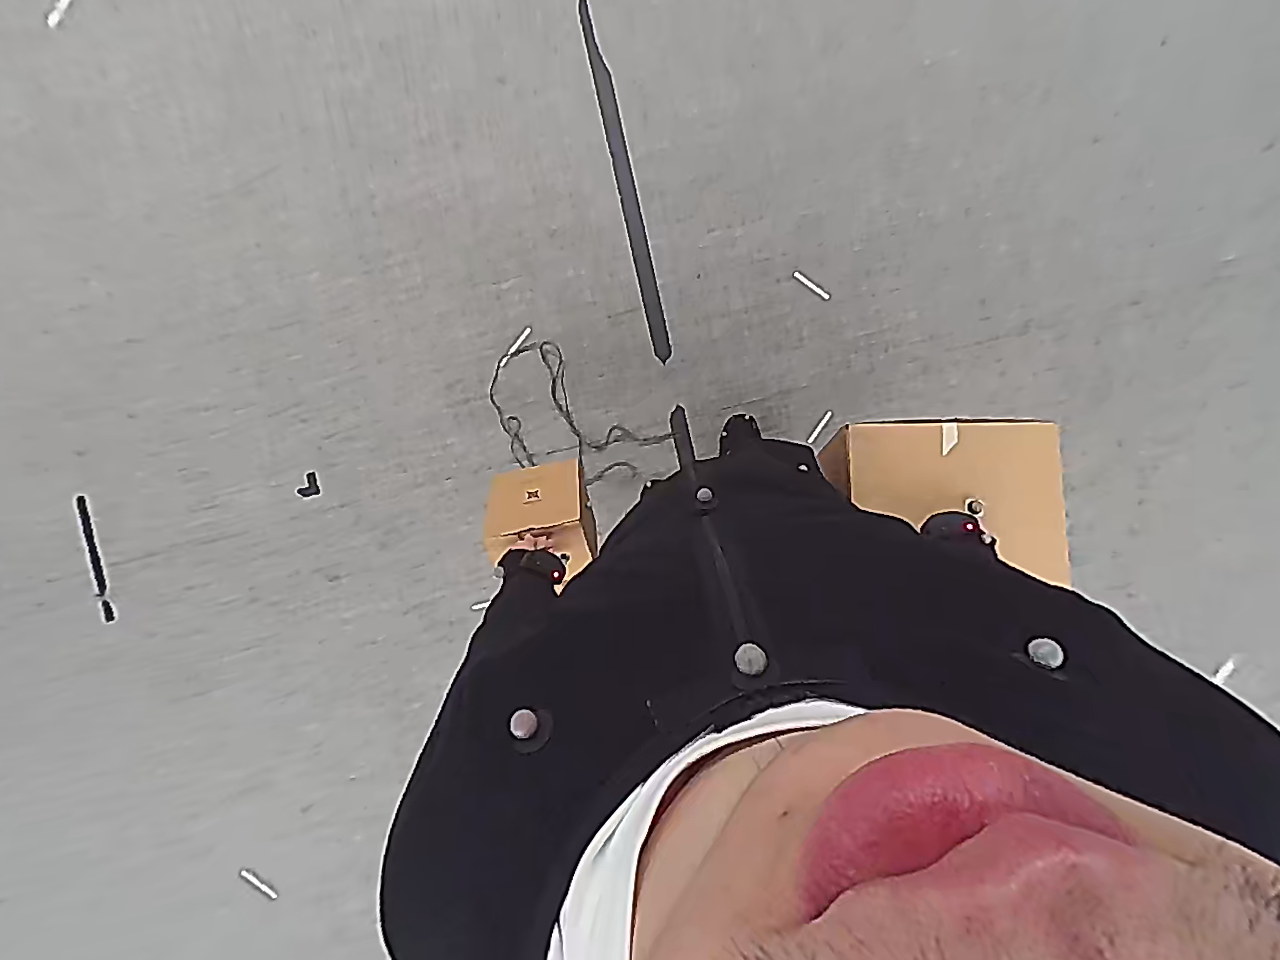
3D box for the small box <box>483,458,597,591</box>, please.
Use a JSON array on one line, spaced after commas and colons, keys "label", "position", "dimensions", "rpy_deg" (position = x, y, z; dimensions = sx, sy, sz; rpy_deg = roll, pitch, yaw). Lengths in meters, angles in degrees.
[{"label": "small box", "position": [-0.177, 0.088, 1.003], "dimensions": [0.168, 0.179, 0.176], "rpy_deg": [-10, 129, -1]}]
